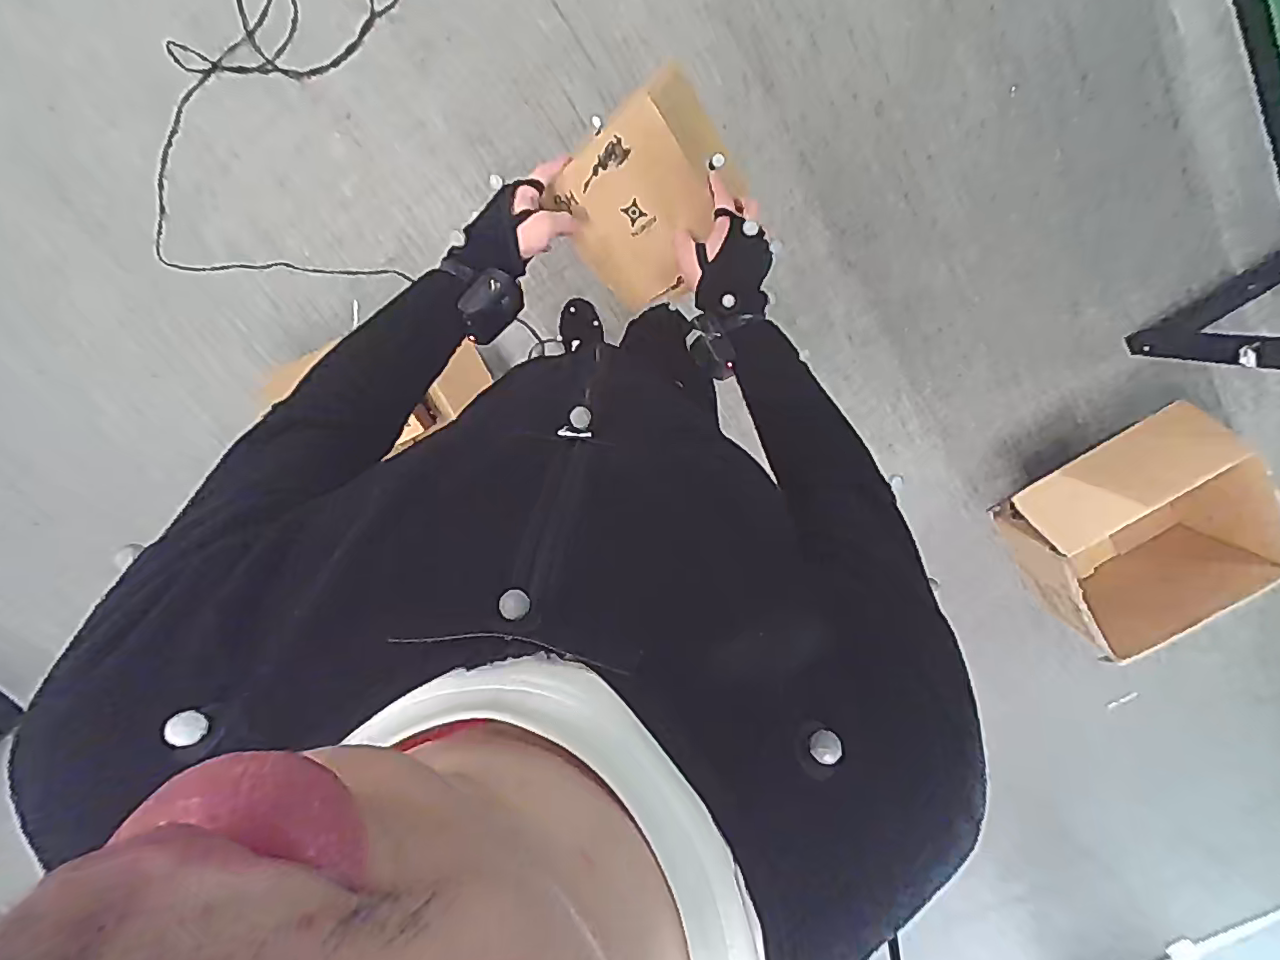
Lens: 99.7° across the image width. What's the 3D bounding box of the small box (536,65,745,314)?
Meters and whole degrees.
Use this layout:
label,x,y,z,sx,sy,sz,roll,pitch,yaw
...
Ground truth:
label,x,y,z,sx,sy,sz,roll,pitch,yaw
small box,0.014,-0.343,0.646,0.168,0.176,0.179,-21,128,34
